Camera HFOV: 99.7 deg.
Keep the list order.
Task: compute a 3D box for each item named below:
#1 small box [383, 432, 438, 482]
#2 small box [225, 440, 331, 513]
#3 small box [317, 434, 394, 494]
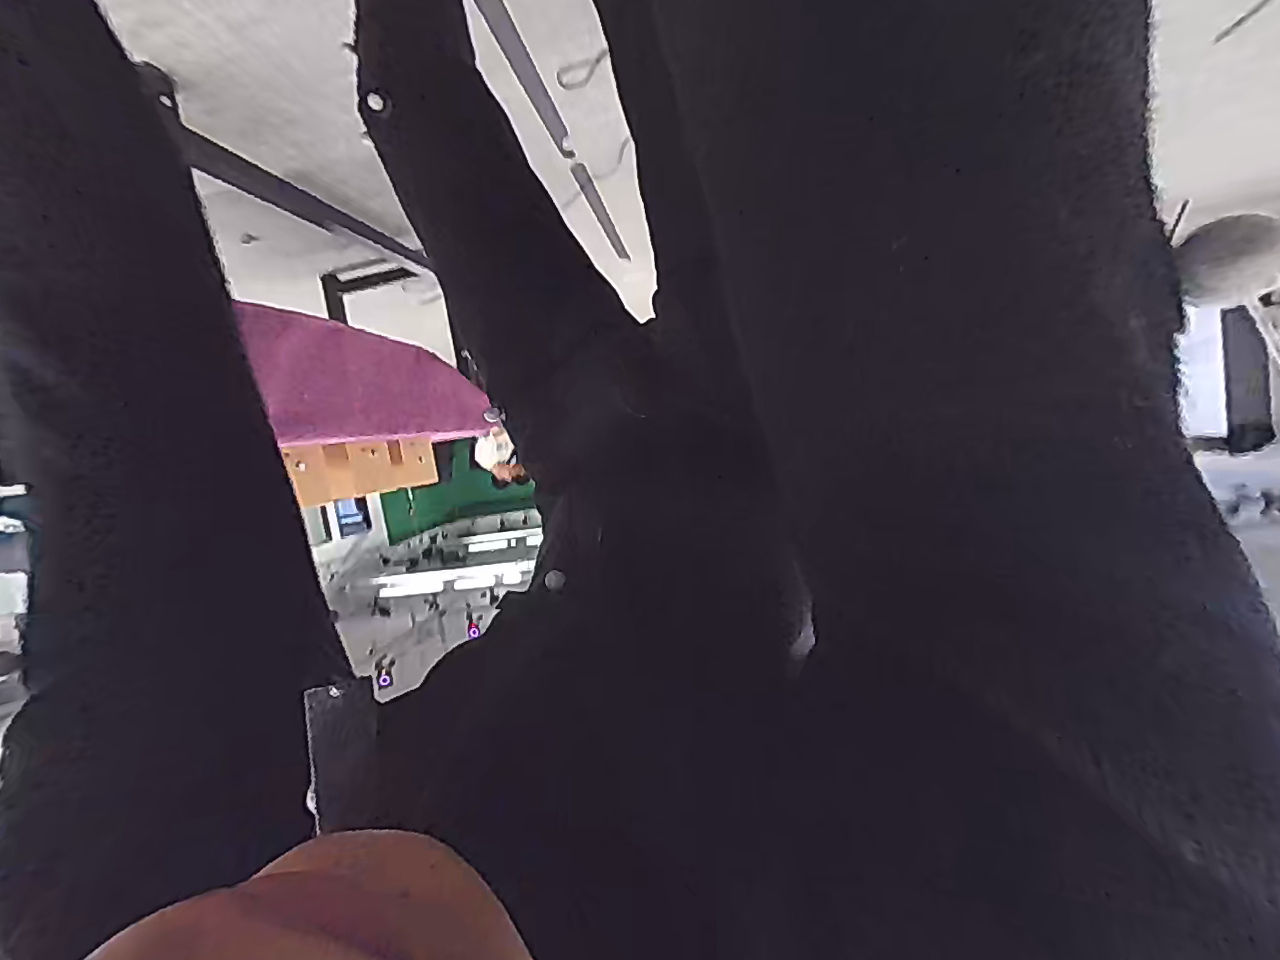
[{"bbox_3d":[-0.873,-0.084,1.967,0.179,0.176,0.168,-7,-174,18],"label":"small box"},{"bbox_3d":[-0.980,-0.015,1.462,0.179,0.176,0.168,-7,-174,22],"label":"small box"},{"bbox_3d":[-0.921,-0.052,1.720,0.179,0.176,0.168,-7,-173,19],"label":"small box"}]
